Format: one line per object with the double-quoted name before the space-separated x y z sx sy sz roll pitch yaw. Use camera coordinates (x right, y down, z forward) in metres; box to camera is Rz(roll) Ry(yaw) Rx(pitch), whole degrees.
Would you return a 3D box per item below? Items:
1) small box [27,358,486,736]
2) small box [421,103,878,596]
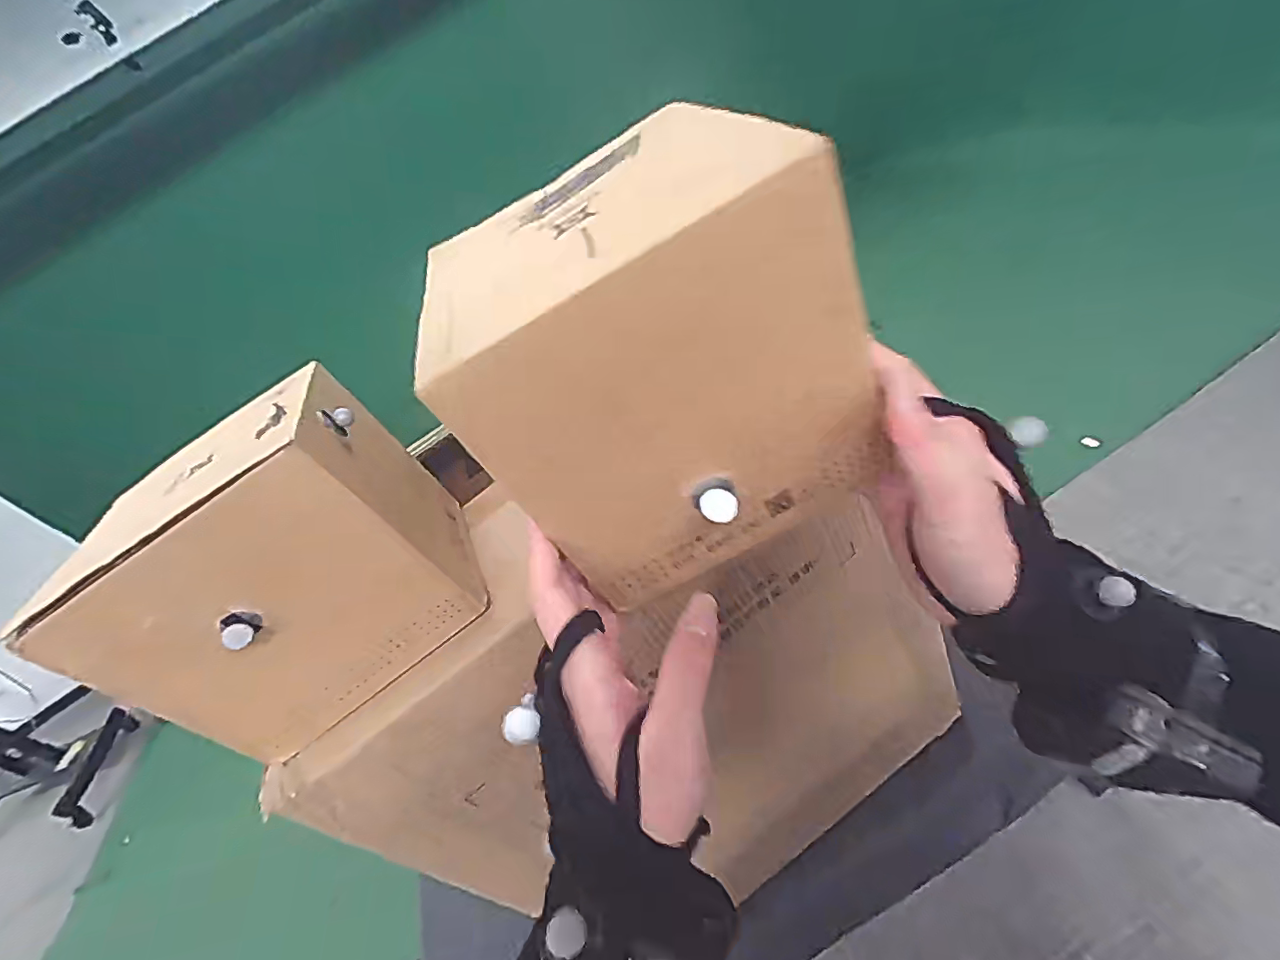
"small box" -0.243 0.047 0.394 0.179 0.176 0.168 -38 37 -4
"small box" 0.006 -0.070 0.301 0.168 0.176 0.179 -29 42 5
